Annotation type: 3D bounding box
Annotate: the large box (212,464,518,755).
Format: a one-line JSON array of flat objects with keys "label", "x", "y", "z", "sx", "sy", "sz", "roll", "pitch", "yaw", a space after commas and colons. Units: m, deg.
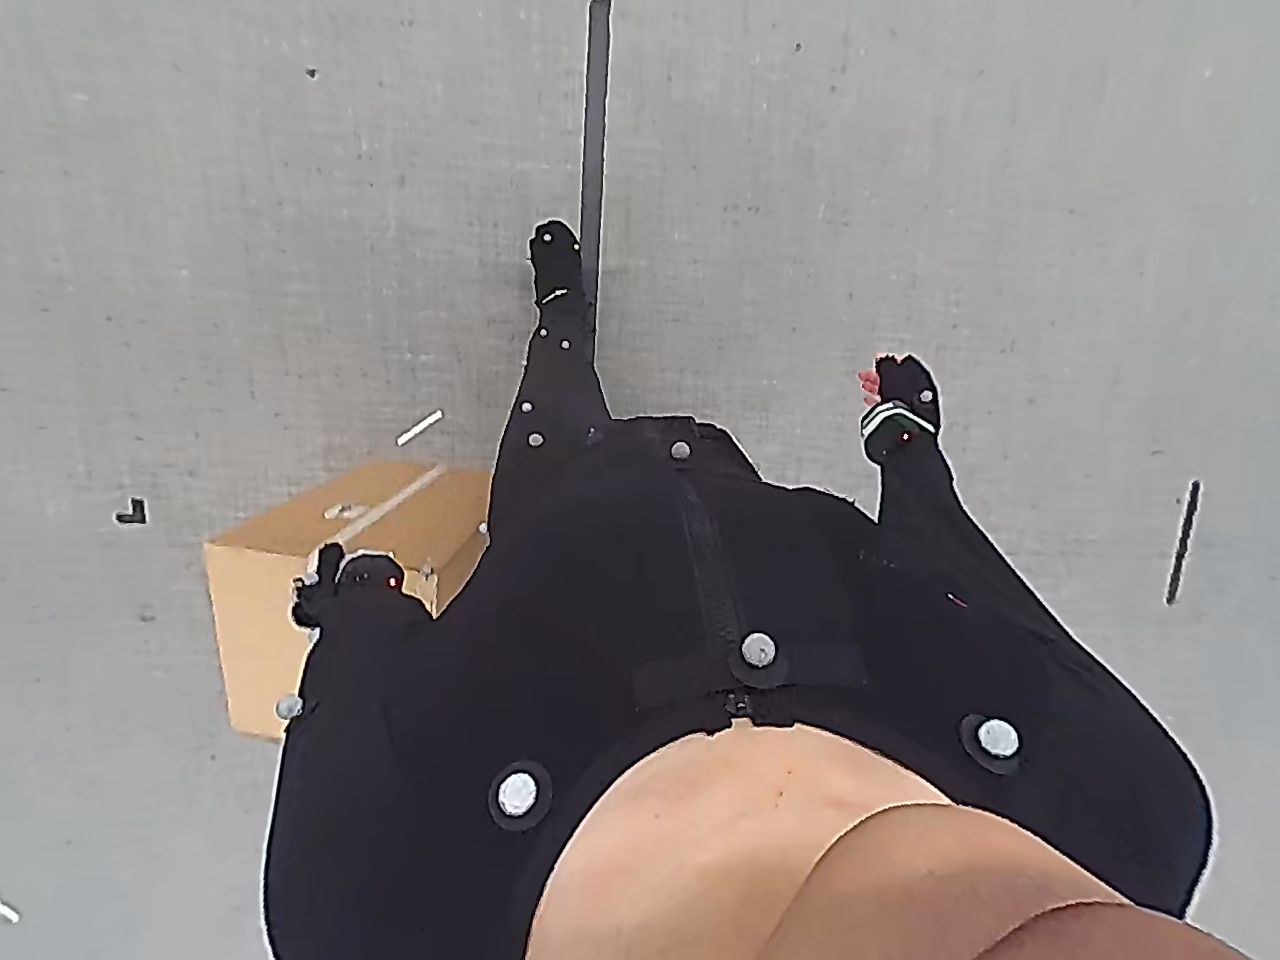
[{"label": "large box", "x": -0.420, "y": 0.187, "z": 0.940, "sx": 0.320, "sy": 0.408, "sz": 0.320, "roll": 6, "pitch": 108, "yaw": 3}]
